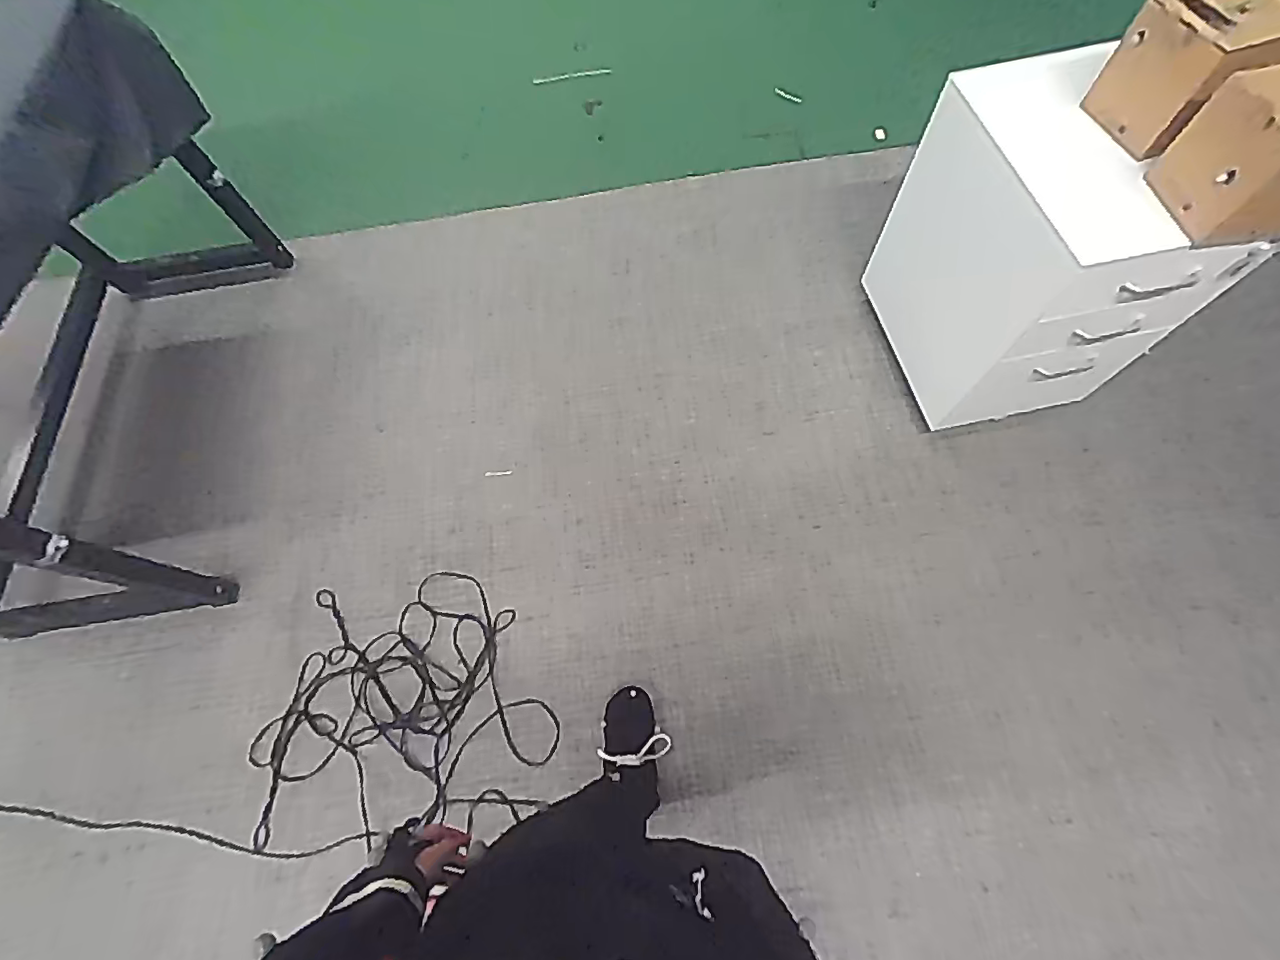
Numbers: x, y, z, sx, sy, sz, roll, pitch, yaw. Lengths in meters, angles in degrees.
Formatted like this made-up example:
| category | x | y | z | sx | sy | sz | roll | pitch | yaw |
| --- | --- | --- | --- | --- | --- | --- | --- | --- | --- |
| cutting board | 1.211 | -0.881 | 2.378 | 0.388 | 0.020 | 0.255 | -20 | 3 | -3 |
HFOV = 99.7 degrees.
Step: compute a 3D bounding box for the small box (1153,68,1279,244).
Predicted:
| category | x | y | z | sx | sy | sz | roll | pitch | yaw |
| --- | --- | --- | --- | --- | --- | --- | --- | --- | --- |
| small box | 0.939 | -0.482 | 0.813 | 0.179 | 0.176 | 0.168 | -8 | 67 | 0 |
